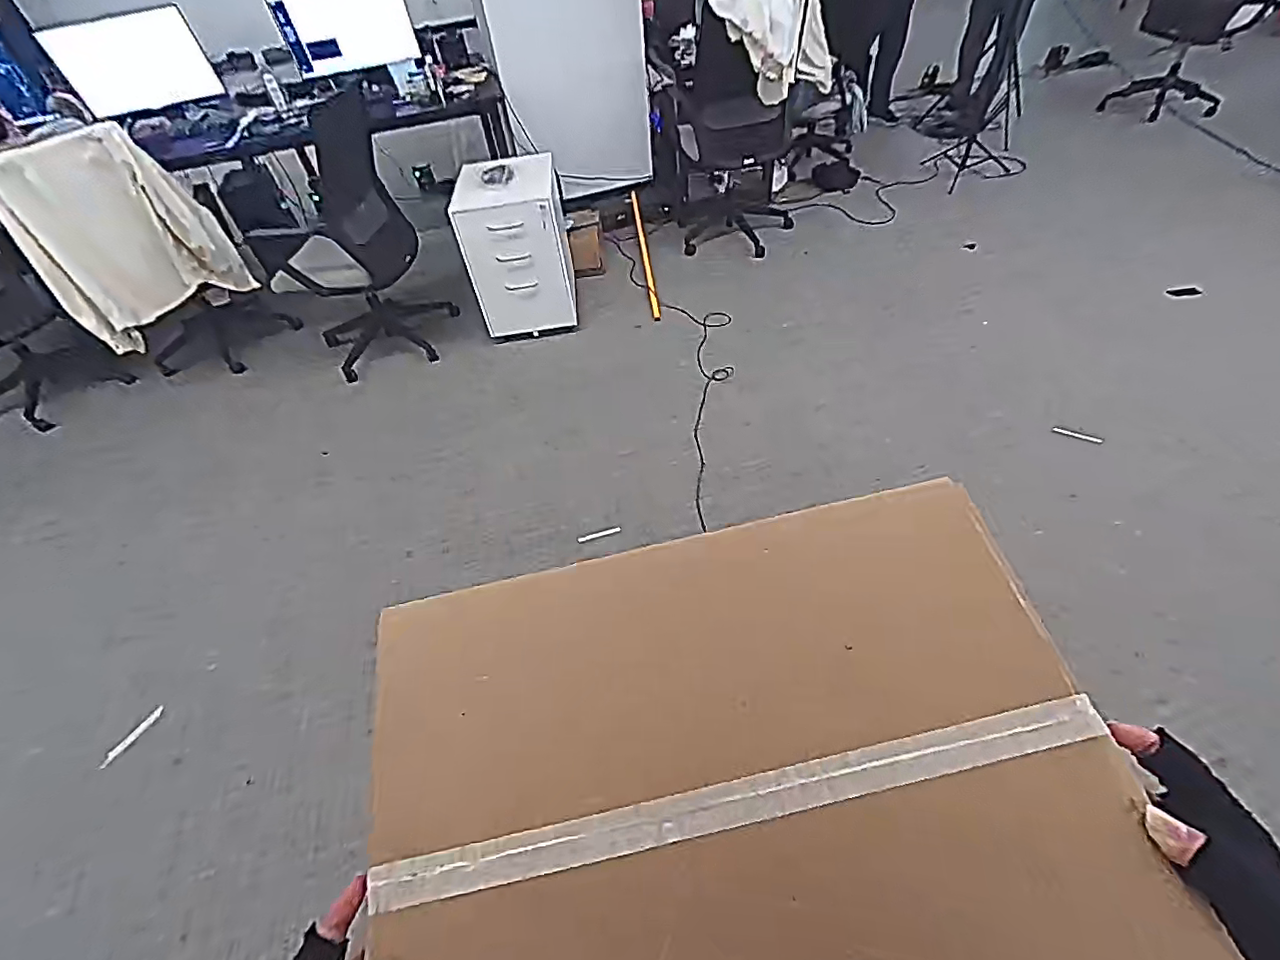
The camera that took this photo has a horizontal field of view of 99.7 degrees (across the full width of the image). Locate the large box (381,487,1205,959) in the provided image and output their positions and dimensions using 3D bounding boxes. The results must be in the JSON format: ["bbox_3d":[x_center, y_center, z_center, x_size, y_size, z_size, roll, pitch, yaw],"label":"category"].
[{"bbox_3d":[0.066,0.250,0.436,0.408,0.320,0.320,-14,59,0],"label":"large box"}]
